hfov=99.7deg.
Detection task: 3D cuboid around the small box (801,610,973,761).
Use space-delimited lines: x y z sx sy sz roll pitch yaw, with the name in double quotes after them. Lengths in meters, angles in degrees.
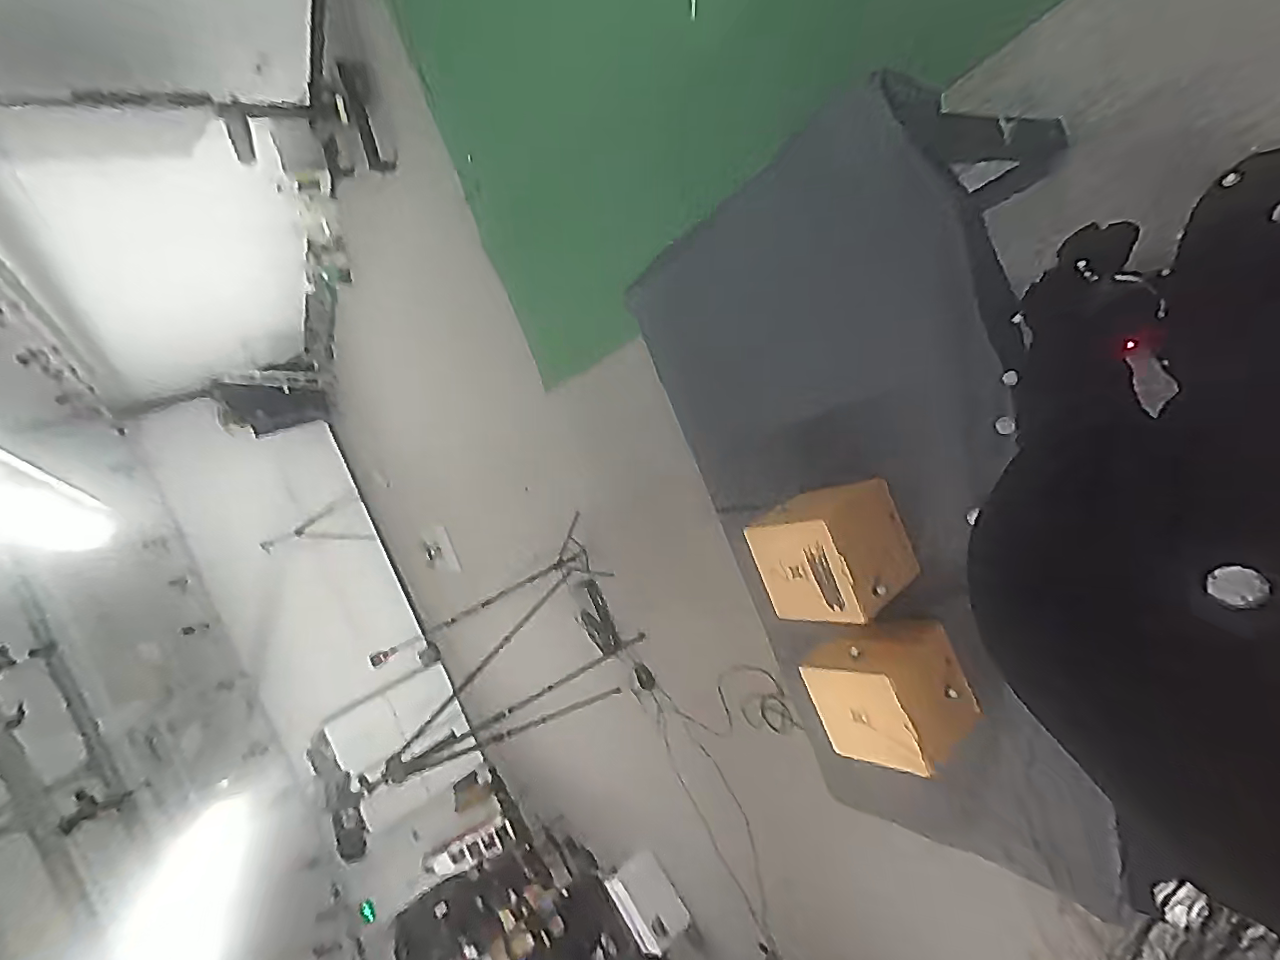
0.414 0.331 0.910 0.179 0.176 0.168 -22 92 56 "small box"
